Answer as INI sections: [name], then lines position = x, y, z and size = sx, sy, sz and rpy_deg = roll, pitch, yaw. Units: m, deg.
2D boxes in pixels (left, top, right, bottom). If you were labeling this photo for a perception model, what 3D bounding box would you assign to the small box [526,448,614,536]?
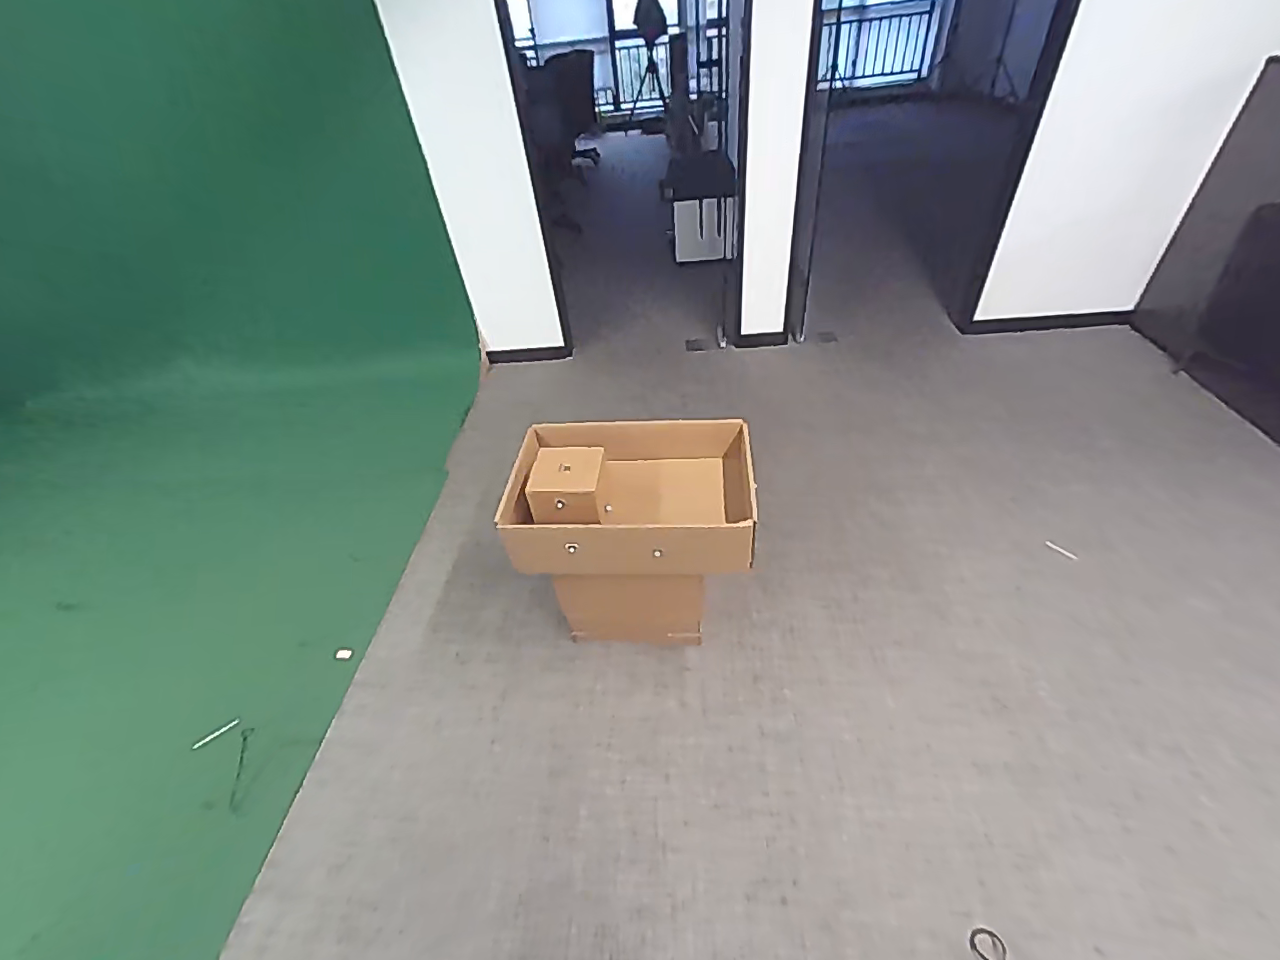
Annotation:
[small box]
position = -0.175, 0.033, 1.406
size = 0.179, 0.176, 0.168
rpy_deg = -1, 43, 9
